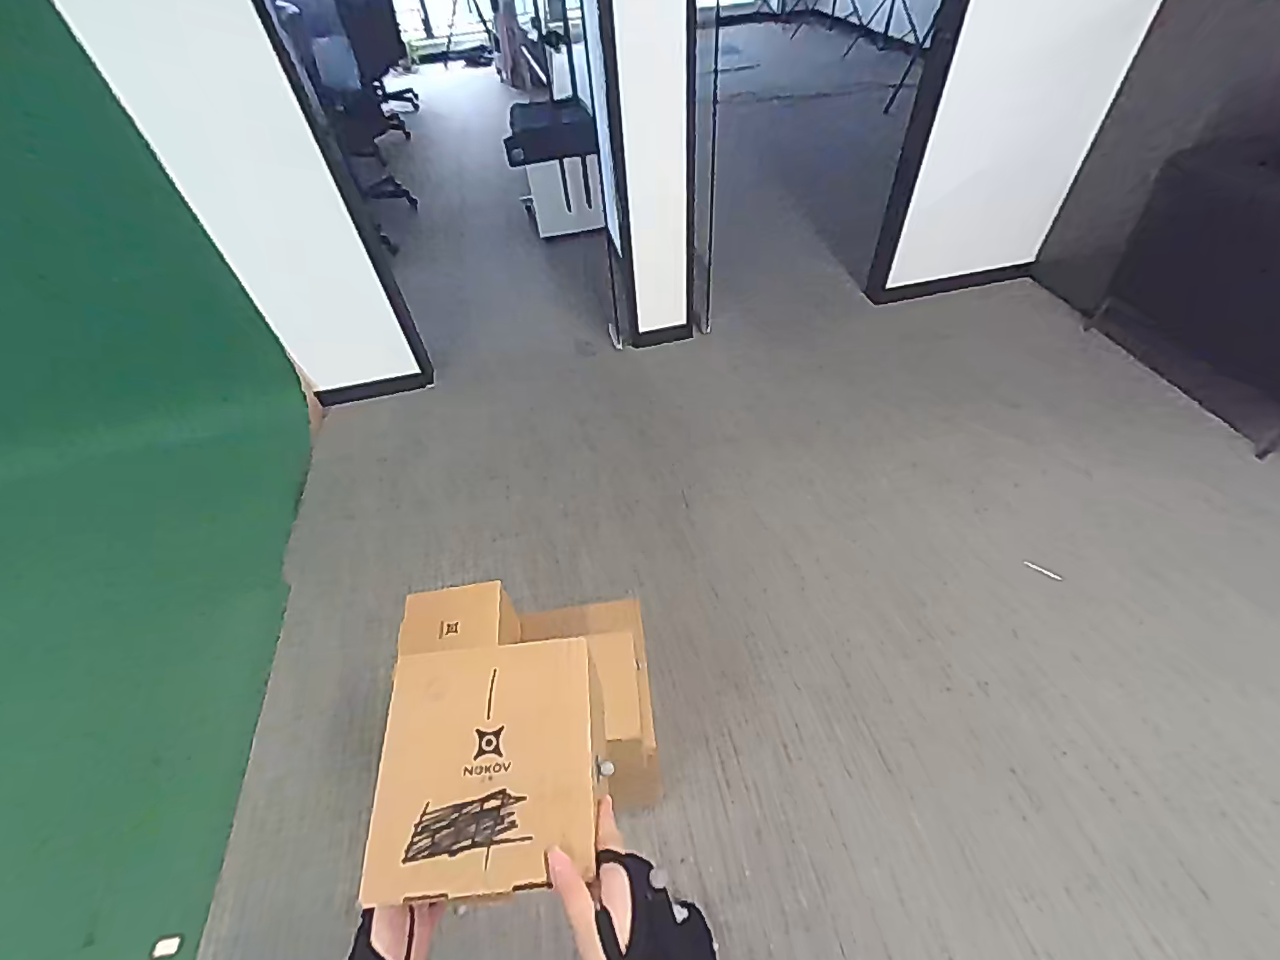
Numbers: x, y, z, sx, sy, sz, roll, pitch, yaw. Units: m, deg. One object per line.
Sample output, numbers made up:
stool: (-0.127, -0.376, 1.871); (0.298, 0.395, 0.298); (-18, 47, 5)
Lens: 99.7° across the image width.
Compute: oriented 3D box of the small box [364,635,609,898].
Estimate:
small box: (-0.119, 0.261, 0.495); (0.168, 0.176, 0.179); (-5, 53, -2)

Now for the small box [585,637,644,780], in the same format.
small box: (-0.083, 0.390, 0.914); (0.168, 0.176, 0.179); (-6, 47, -1)

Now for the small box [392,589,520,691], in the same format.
small box: (-0.324, 0.323, 0.996); (0.179, 0.176, 0.168); (-9, 47, -2)
